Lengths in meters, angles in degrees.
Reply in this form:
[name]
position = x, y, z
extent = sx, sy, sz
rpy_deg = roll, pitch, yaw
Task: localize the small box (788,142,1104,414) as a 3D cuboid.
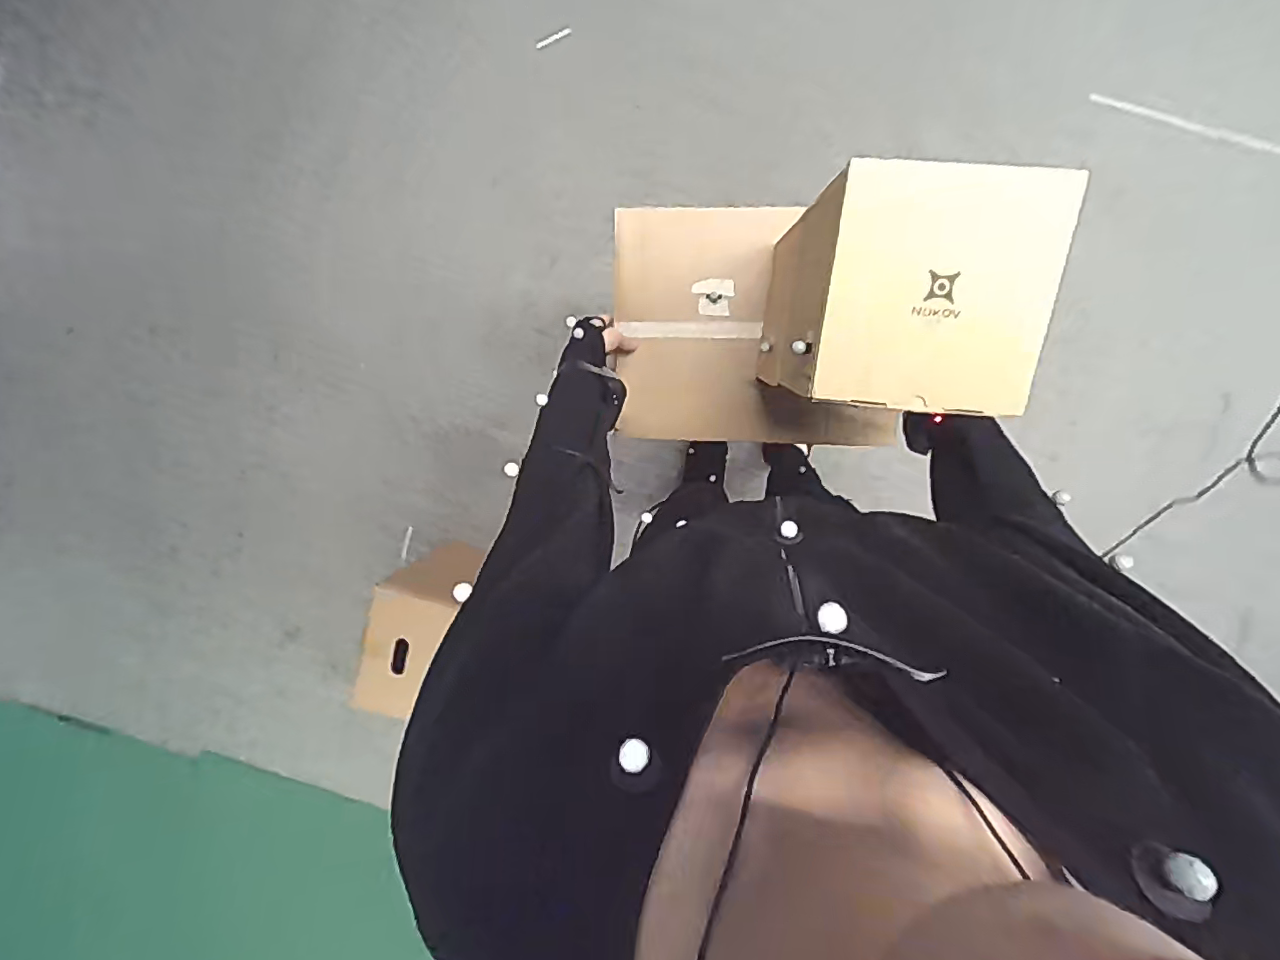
[small box]
position = 0.235, -0.163, 0.471
extent = 0.168, 0.176, 0.179
rpy_deg = 7, 106, 4
